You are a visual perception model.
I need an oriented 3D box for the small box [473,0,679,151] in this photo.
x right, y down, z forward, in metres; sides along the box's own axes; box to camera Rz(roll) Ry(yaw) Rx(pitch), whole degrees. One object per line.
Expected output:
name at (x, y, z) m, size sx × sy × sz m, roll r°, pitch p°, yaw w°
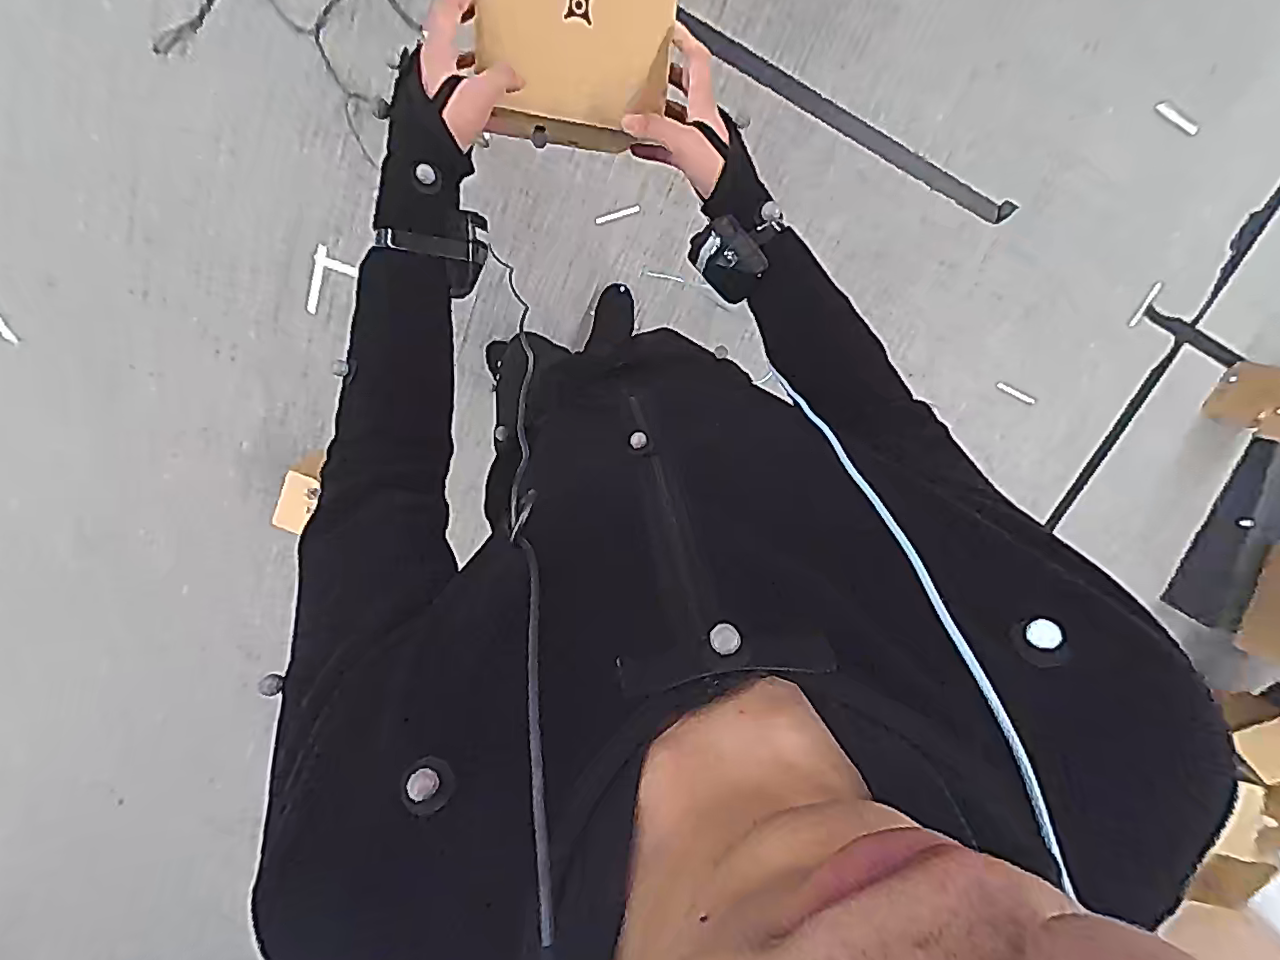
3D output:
small box at (-0.065, -0.423, 0.502) m, size 0.168 × 0.176 × 0.179 m, roll 1°, pitch 114°, yaw -16°

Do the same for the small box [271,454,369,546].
small box at (-0.886, 0.049, 1.513) m, size 0.168 × 0.176 × 0.179 m, roll 24°, pitch 107°, yaw -14°
